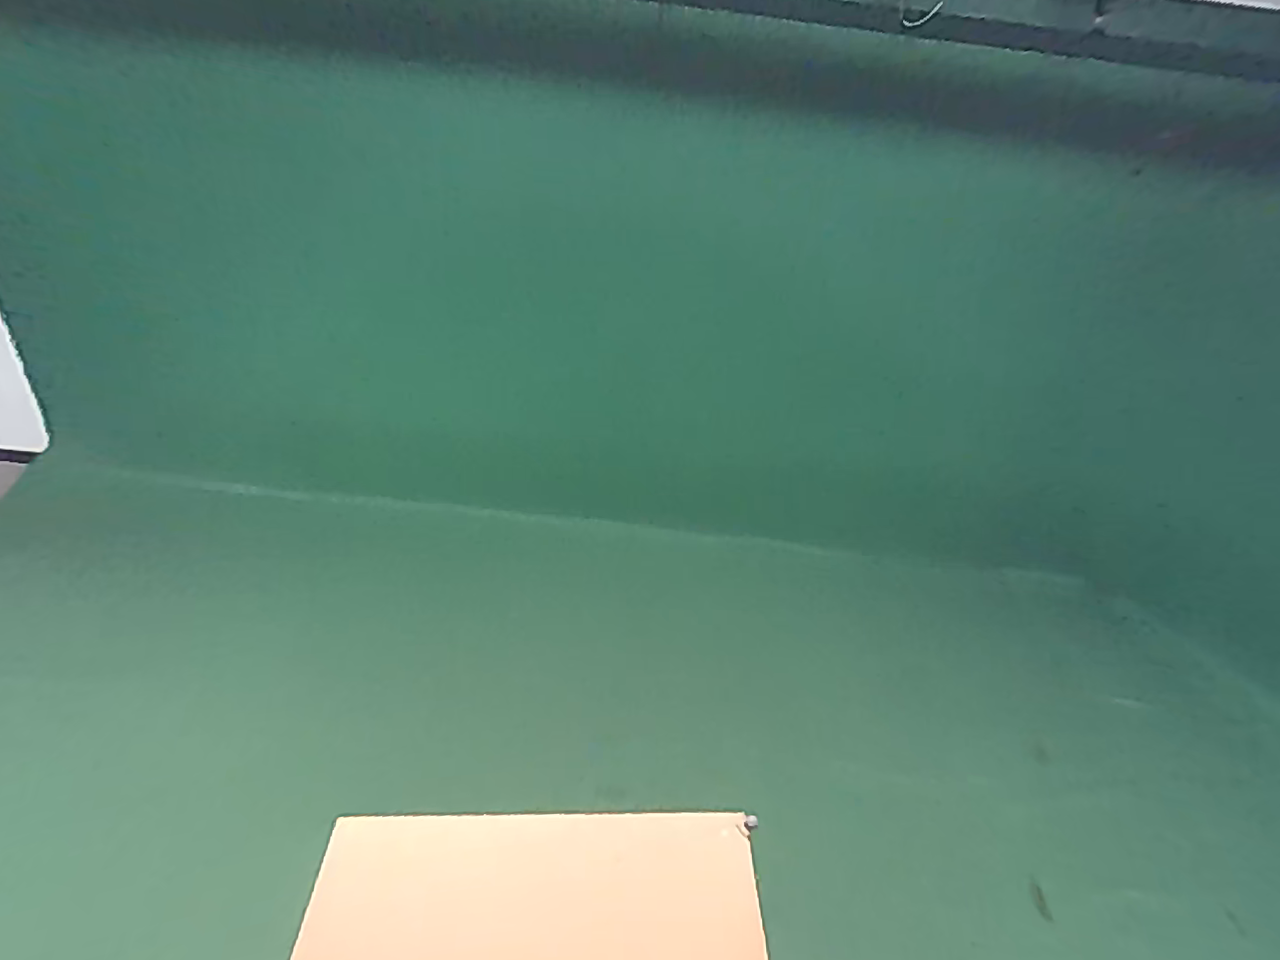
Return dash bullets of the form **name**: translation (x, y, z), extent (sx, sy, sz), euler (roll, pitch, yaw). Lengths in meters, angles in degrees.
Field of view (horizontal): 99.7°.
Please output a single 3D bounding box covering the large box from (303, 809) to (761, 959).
- **large box**: translation (-0.106, 0.554, 0.540), extent (0.408, 0.320, 0.320), euler (4, 43, -8)
